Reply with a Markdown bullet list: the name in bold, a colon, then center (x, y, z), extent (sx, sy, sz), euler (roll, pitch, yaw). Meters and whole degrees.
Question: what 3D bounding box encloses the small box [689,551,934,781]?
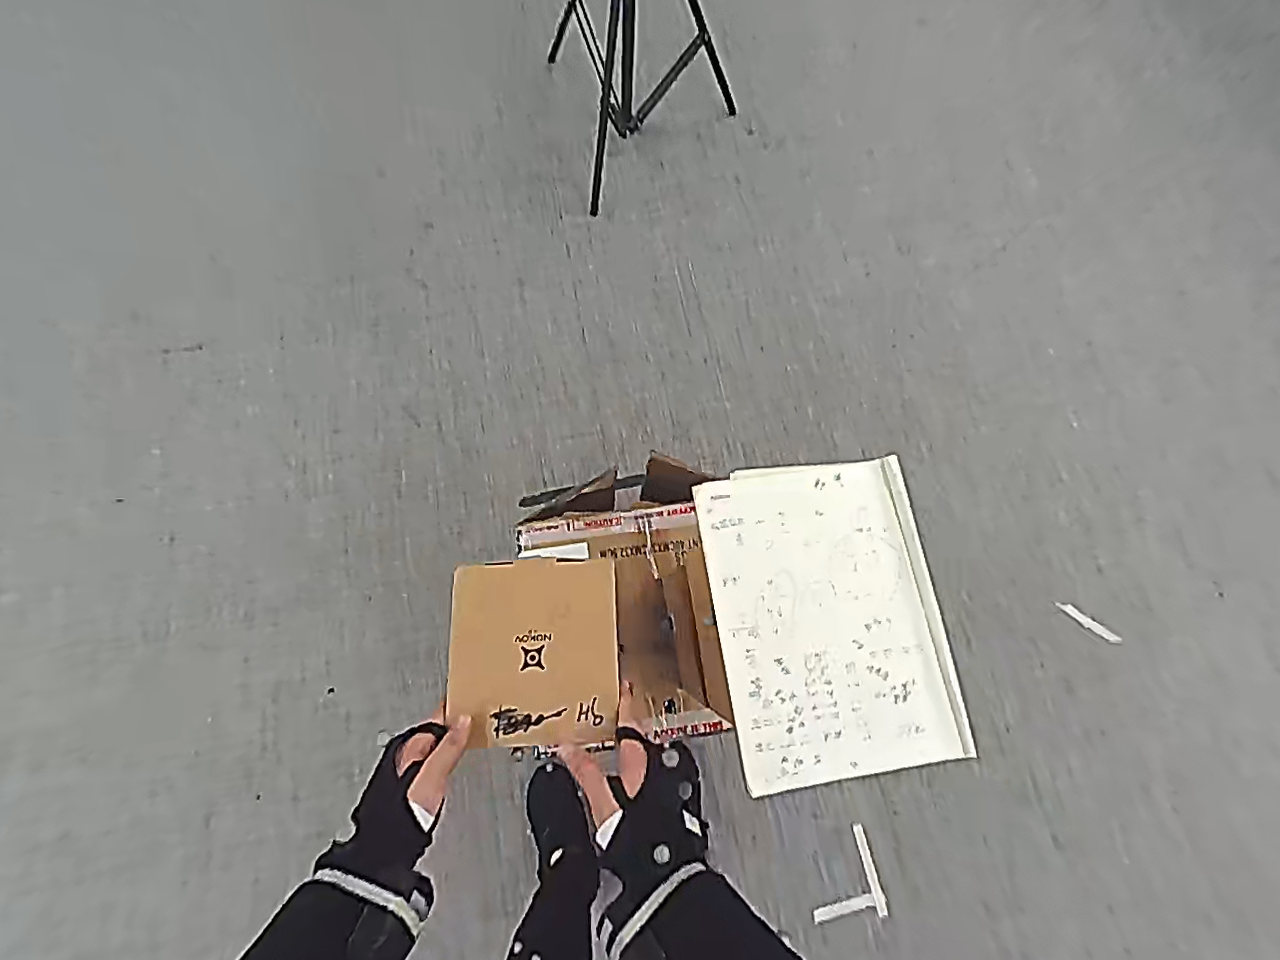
- **small box**: center (0.154, 0.177, 0.551), extent (0.168, 0.176, 0.179), euler (-7, 77, -7)
